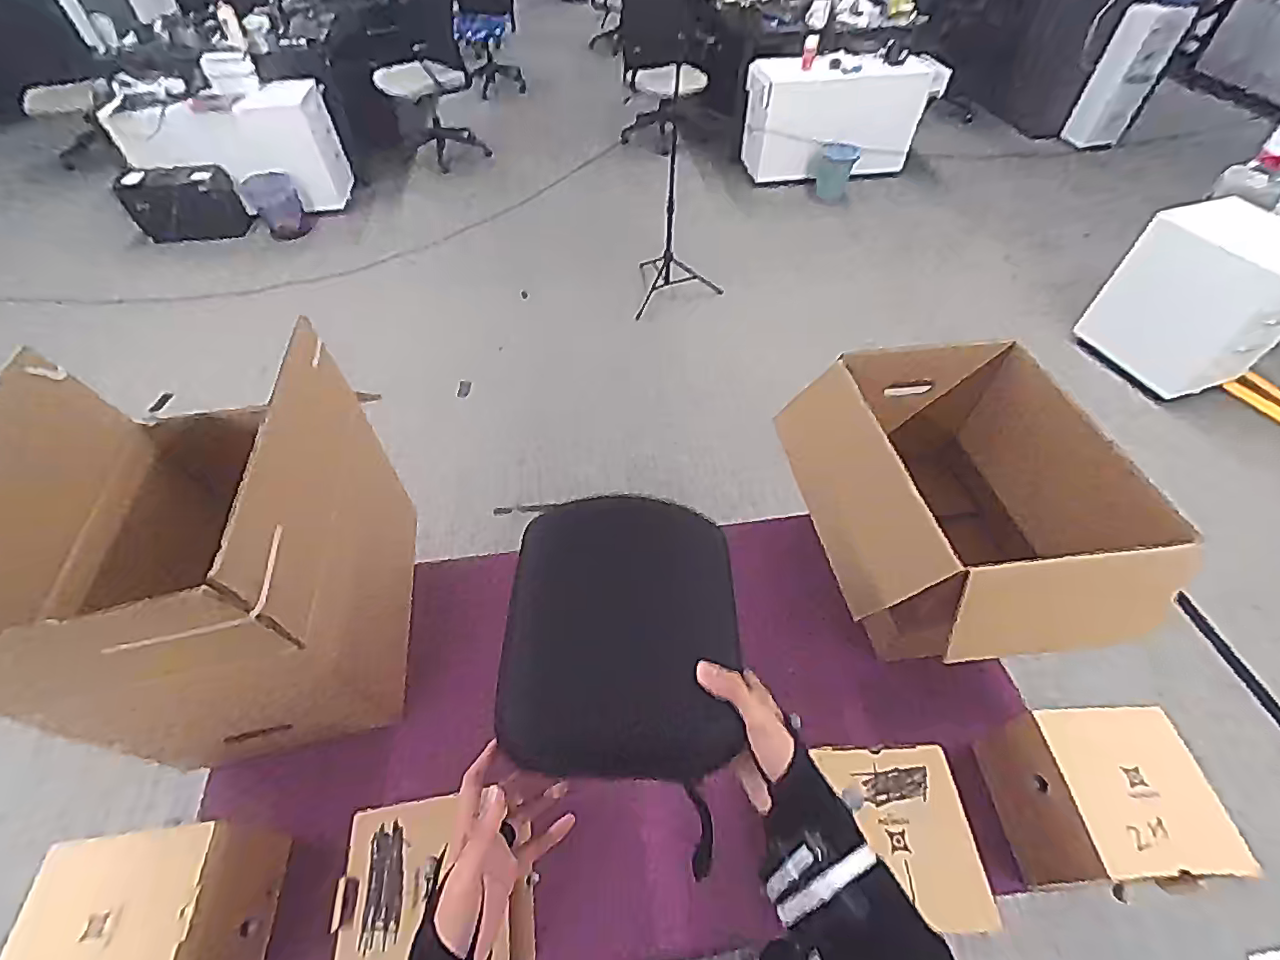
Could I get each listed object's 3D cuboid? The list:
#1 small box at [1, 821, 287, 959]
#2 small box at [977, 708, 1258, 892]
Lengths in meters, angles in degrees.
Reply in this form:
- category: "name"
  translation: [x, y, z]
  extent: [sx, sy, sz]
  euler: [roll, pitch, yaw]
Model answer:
- category: "small box"
  translation: [-0.550, 0.506, 0.614]
  extent: [0.179, 0.176, 0.168]
  euler: [-5, 51, -5]
- category: "small box"
  translation: [0.570, 0.406, 0.683]
  extent: [0.168, 0.176, 0.179]
  euler: [-2, 50, 0]
